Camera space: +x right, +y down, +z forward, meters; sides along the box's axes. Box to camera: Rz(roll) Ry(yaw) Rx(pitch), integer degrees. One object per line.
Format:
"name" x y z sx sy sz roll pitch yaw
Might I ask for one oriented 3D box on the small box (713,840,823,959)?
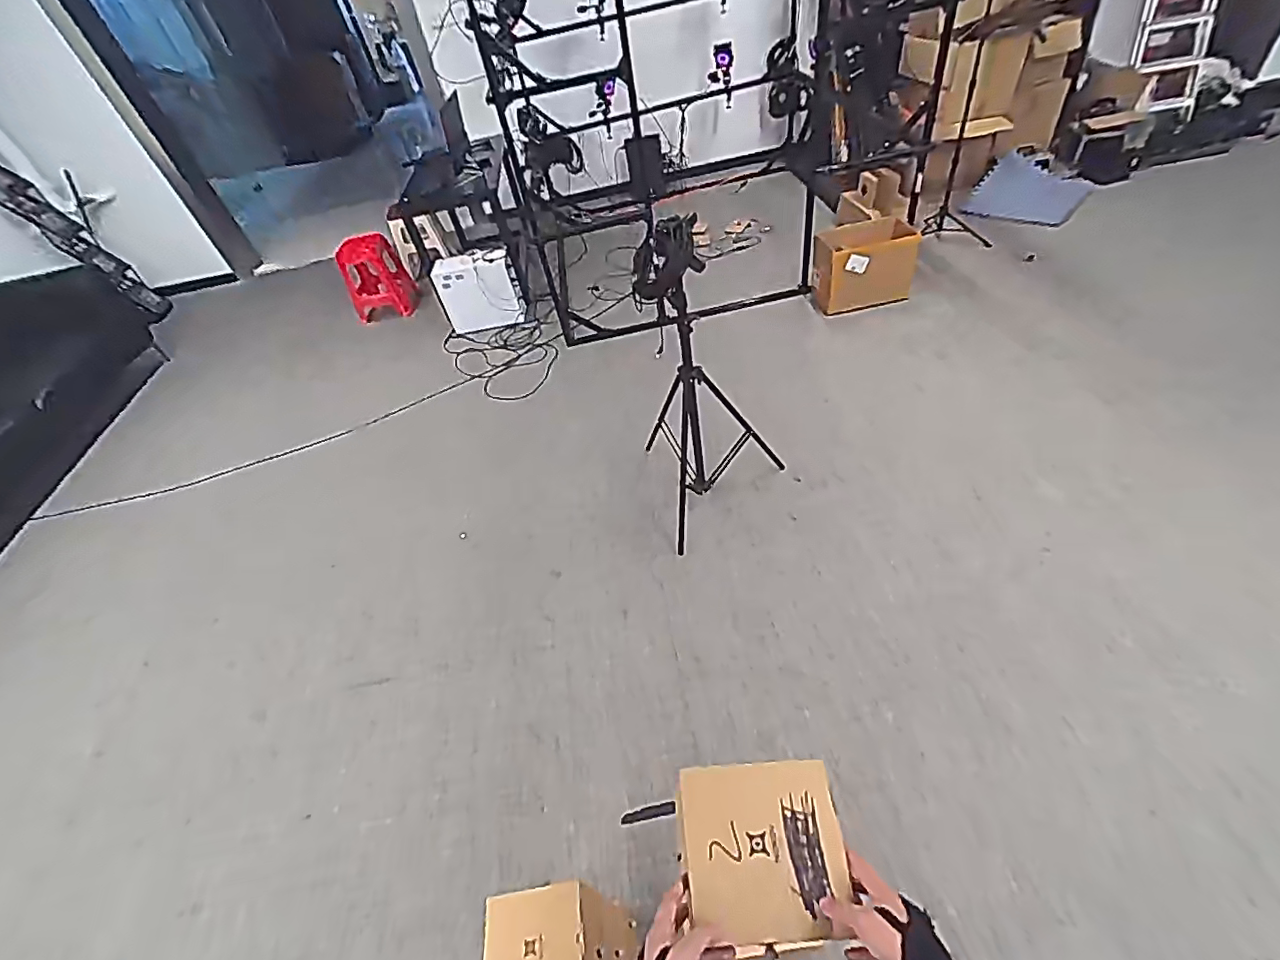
"small box" 0.251 0.853 1.095 0.179 0.176 0.168 -10 45 2

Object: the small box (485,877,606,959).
"small box" -0.165 0.843 0.973 0.179 0.176 0.168 -12 45 2

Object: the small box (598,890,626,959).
"small box" -0.125 0.959 1.080 0.168 0.176 0.179 -16 46 -1

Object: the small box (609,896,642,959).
"small box" -0.091 1.066 1.200 0.168 0.176 0.179 -17 46 -3
